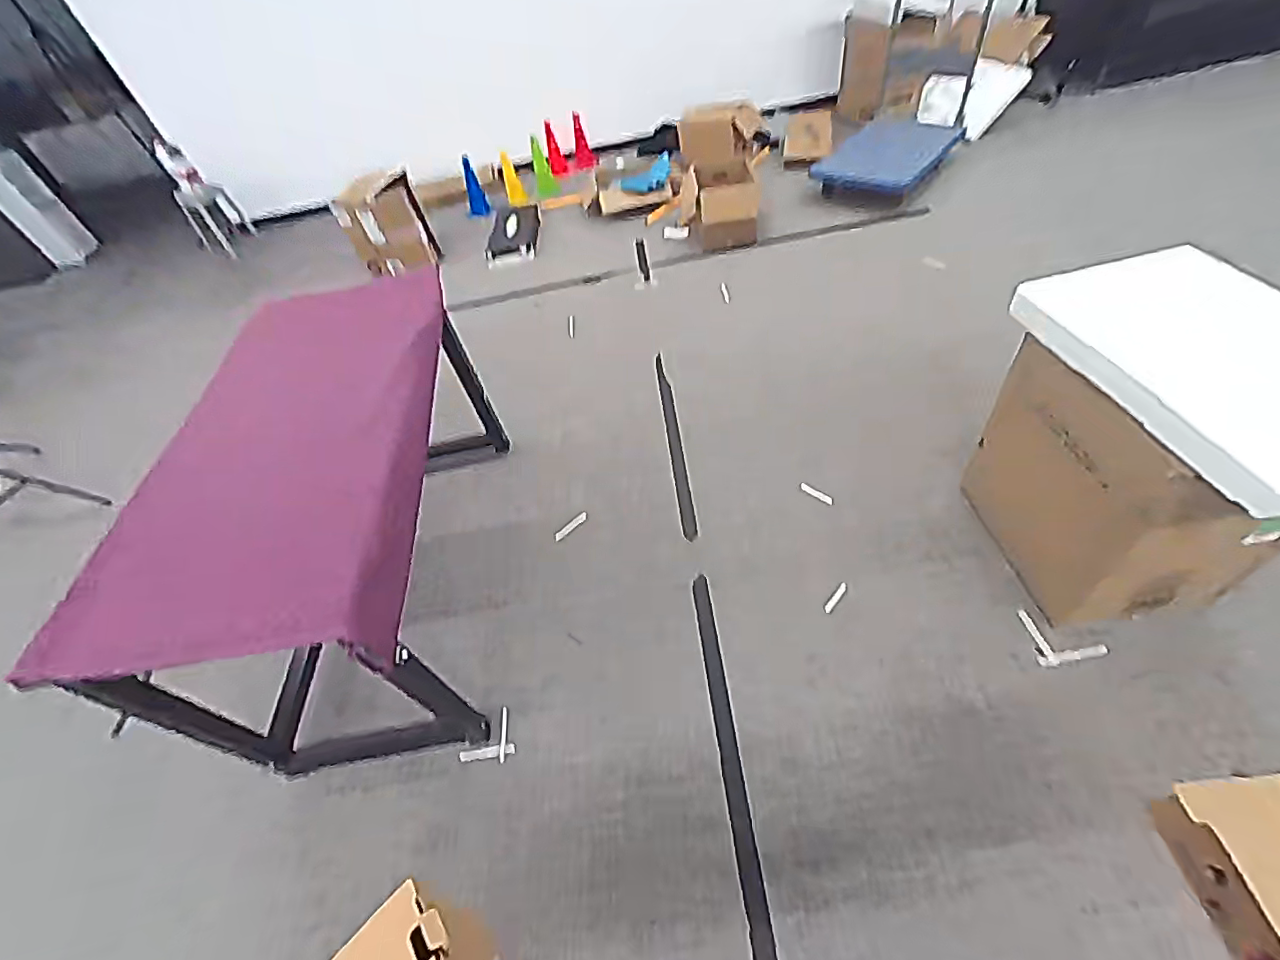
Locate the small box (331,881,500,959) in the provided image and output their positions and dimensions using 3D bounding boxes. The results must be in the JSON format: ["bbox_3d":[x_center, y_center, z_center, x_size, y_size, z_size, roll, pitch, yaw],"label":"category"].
[{"bbox_3d":[-0.243,0.588,0.563,0.179,0.176,0.168,-42,31,-25],"label":"small box"}]
